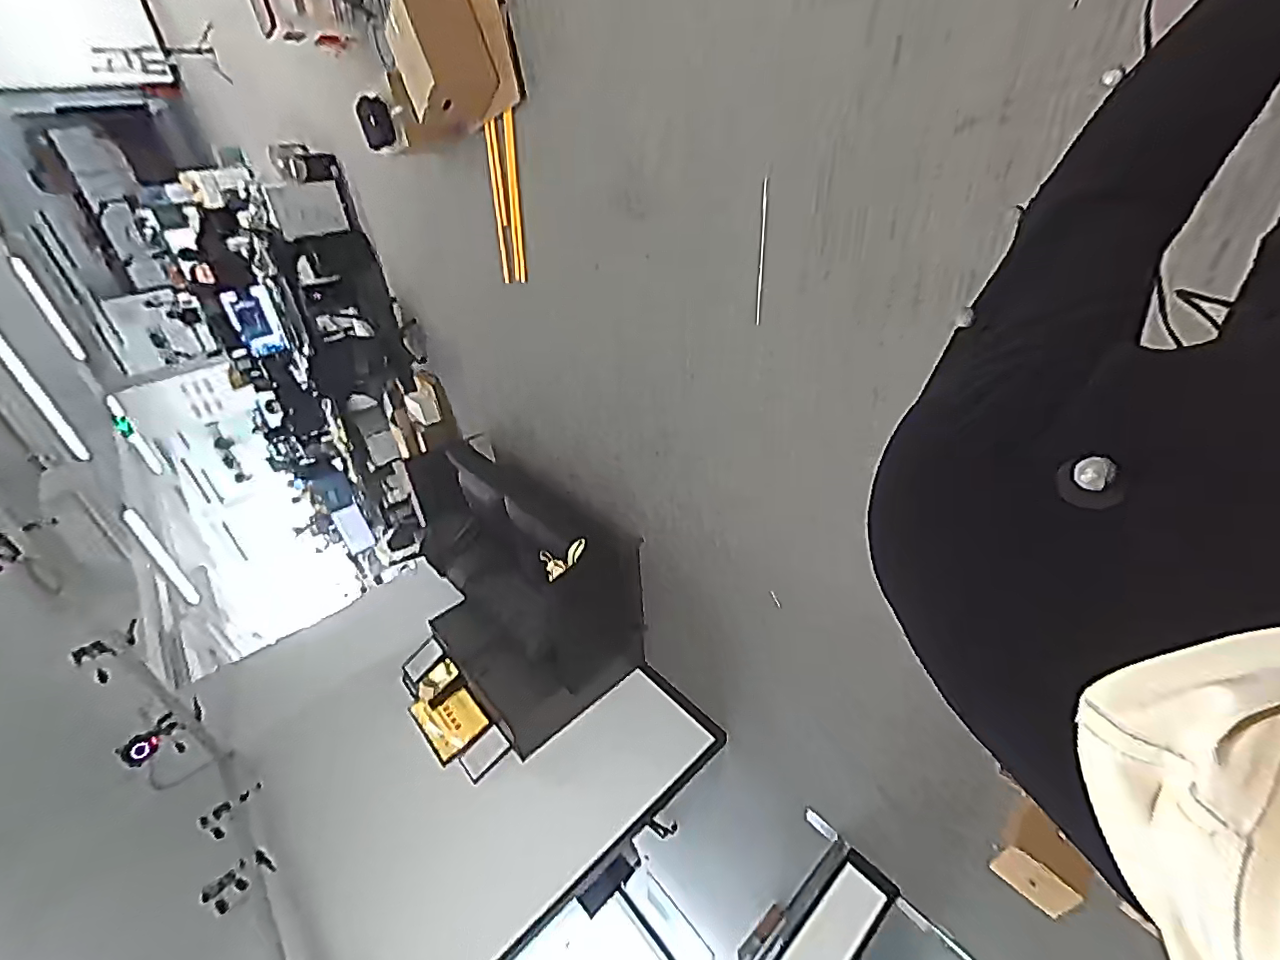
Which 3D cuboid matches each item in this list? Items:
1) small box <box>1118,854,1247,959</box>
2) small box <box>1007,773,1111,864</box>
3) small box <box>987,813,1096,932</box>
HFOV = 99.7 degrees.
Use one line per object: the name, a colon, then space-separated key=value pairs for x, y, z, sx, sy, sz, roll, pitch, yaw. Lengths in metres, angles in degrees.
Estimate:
small box: x=1.388 y=1.113 z=1.382 sx=0.168 sy=0.176 sz=0.179 roll=35 pitch=140 yaw=36
small box: x=1.198 y=0.982 z=1.544 sx=0.168 sy=0.176 sz=0.179 roll=34 pitch=140 yaw=34
small box: x=1.079 y=1.049 z=1.453 sx=0.168 sy=0.176 sz=0.179 roll=32 pitch=137 yaw=35
